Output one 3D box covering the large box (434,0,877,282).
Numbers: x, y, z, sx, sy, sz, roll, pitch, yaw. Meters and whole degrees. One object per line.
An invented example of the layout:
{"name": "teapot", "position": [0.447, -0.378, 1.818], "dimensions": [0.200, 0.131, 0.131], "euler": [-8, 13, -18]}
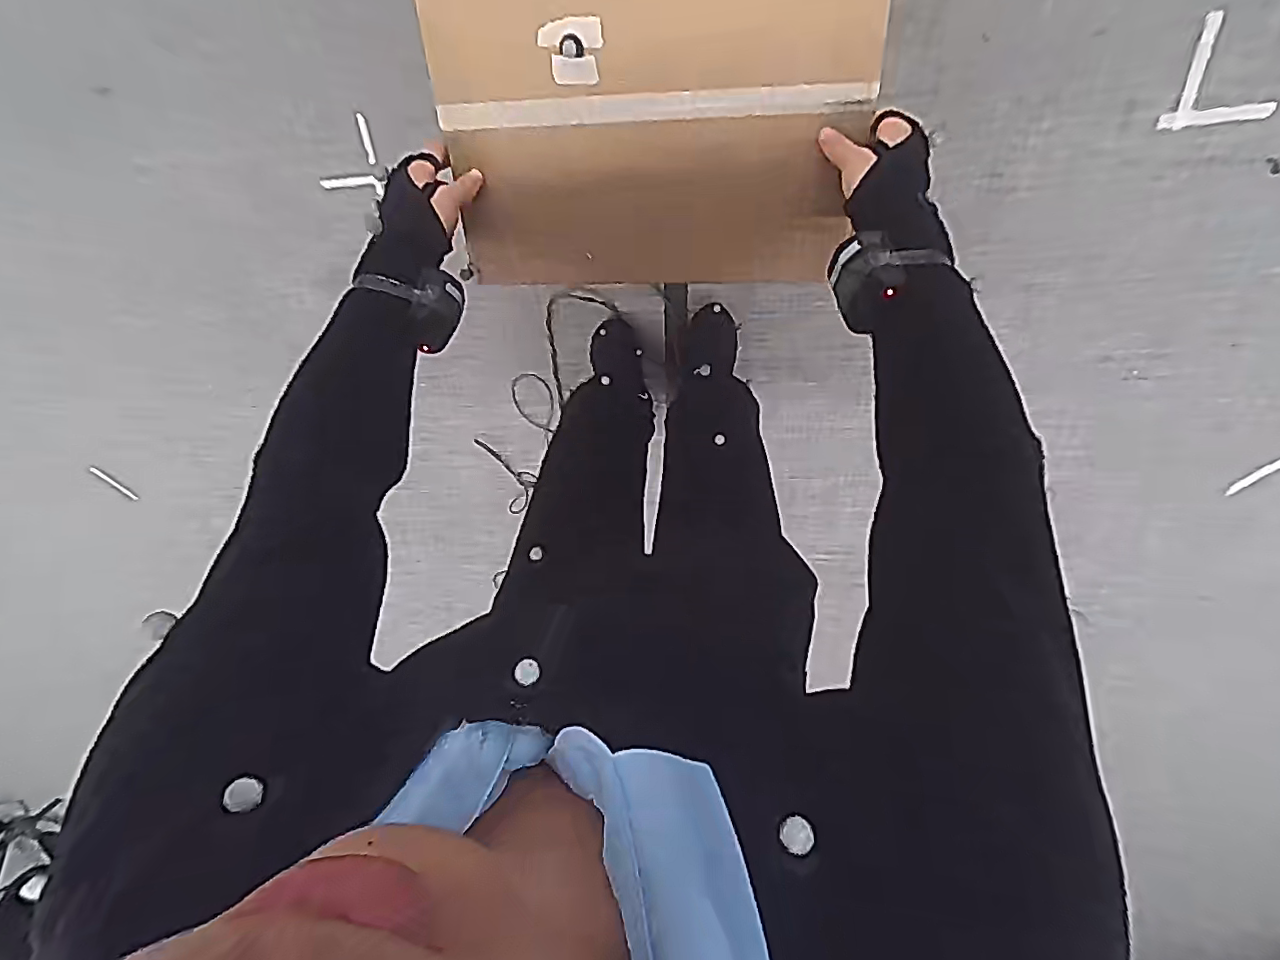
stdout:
{"name": "large box", "position": [0.031, -0.436, 0.647], "dimensions": [0.408, 0.320, 0.320], "euler": [2, 122, 8]}
